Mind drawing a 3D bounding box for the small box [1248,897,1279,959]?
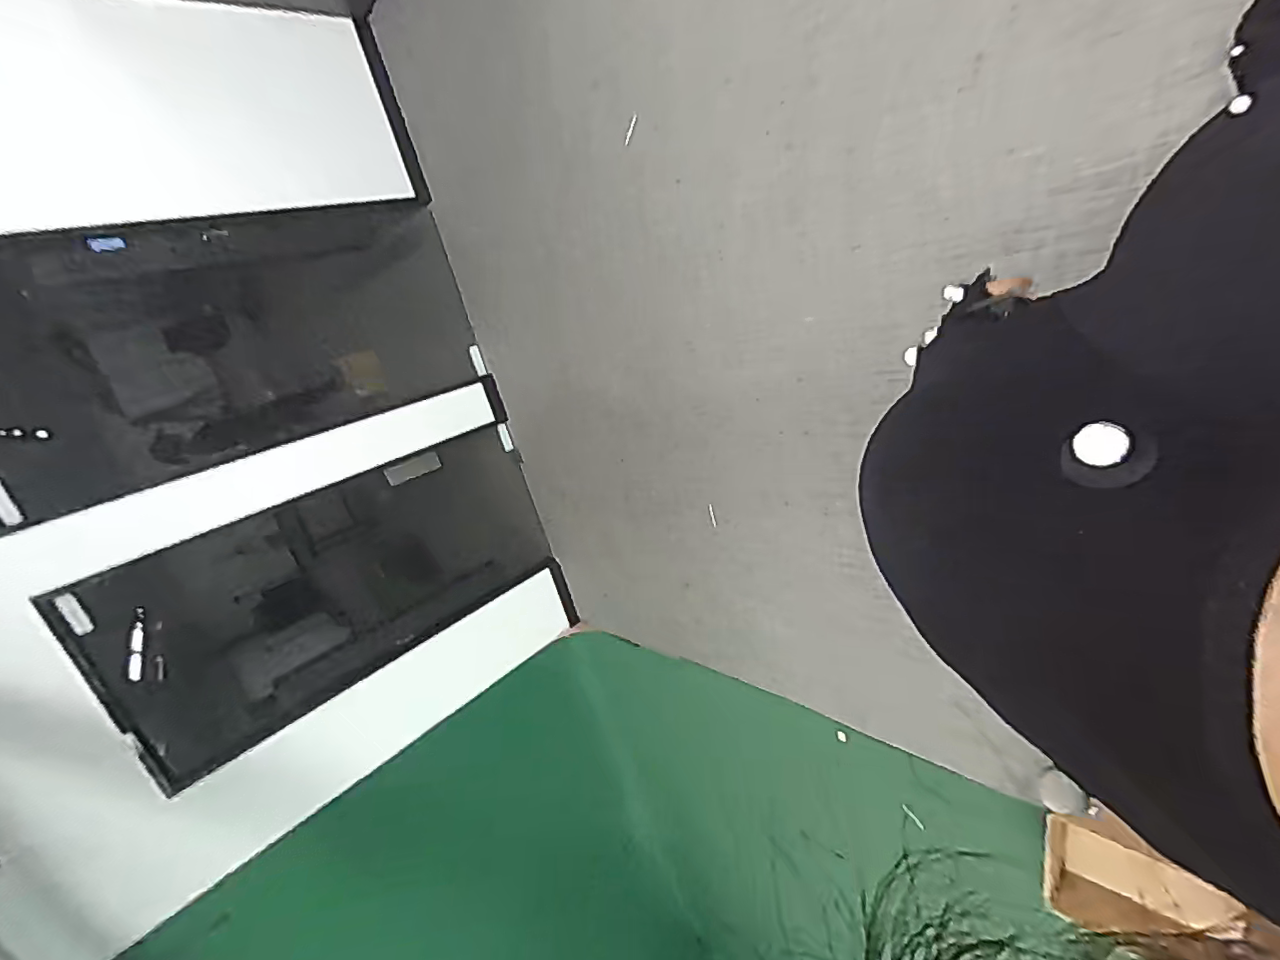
[{"bbox_3d":[1.487,1.091,1.196,0.179,0.176,0.168,8,118,49],"label":"small box"}]
